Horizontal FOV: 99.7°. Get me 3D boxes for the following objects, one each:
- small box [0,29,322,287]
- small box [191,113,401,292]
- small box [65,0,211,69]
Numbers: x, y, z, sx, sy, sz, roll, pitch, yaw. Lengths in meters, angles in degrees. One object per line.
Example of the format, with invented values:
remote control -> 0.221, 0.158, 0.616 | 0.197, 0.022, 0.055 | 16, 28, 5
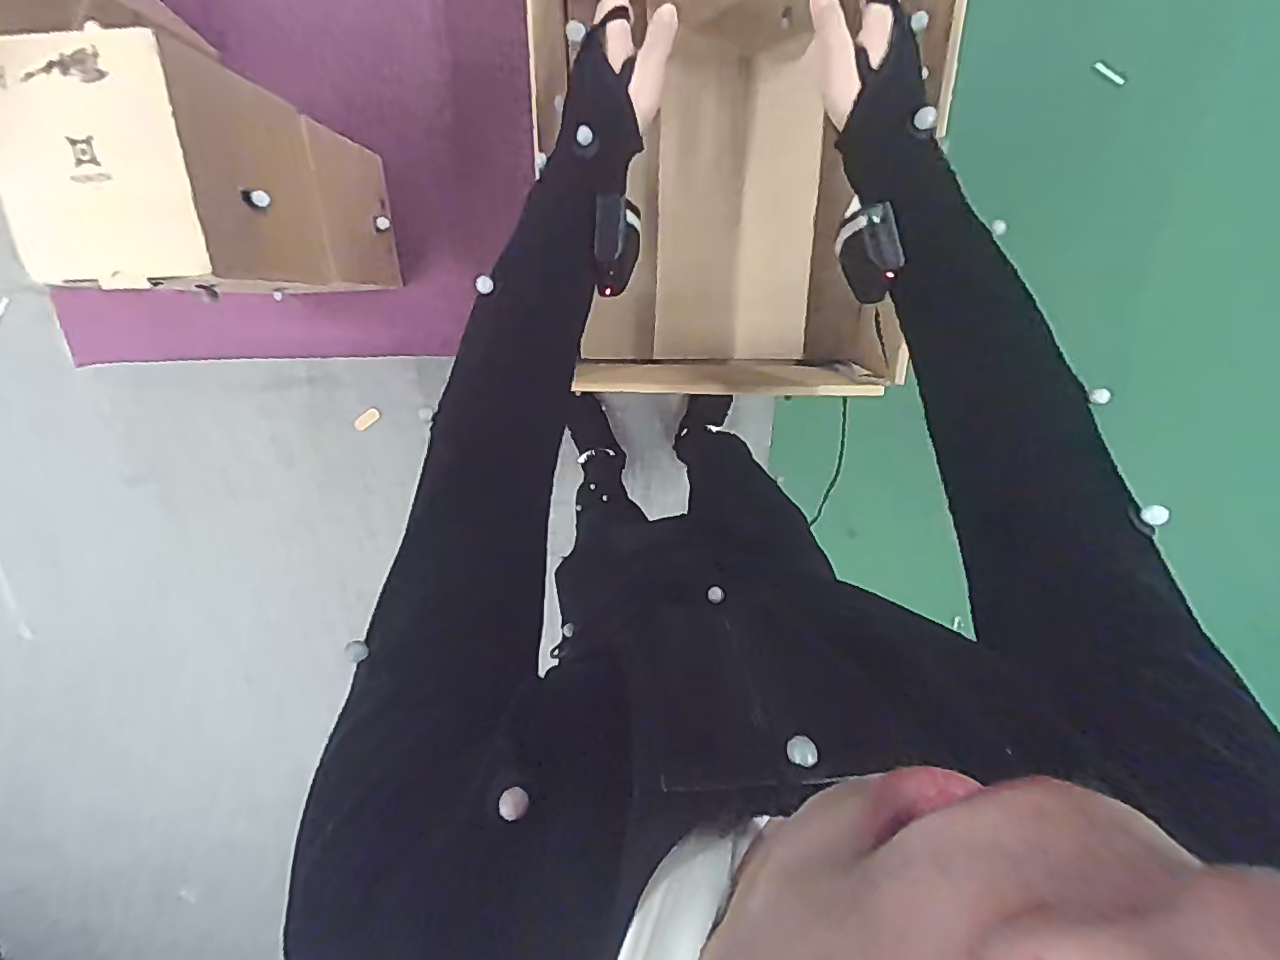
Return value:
small box -> -0.430, -0.274, 0.501 | 0.168, 0.176, 0.179 | -1, 109, 2
small box -> -0.424, -0.321, 0.658 | 0.179, 0.176, 0.168 | -2, 108, 2
small box -> -0.643, -0.502, 0.602 | 0.179, 0.176, 0.168 | 41, 105, -12
